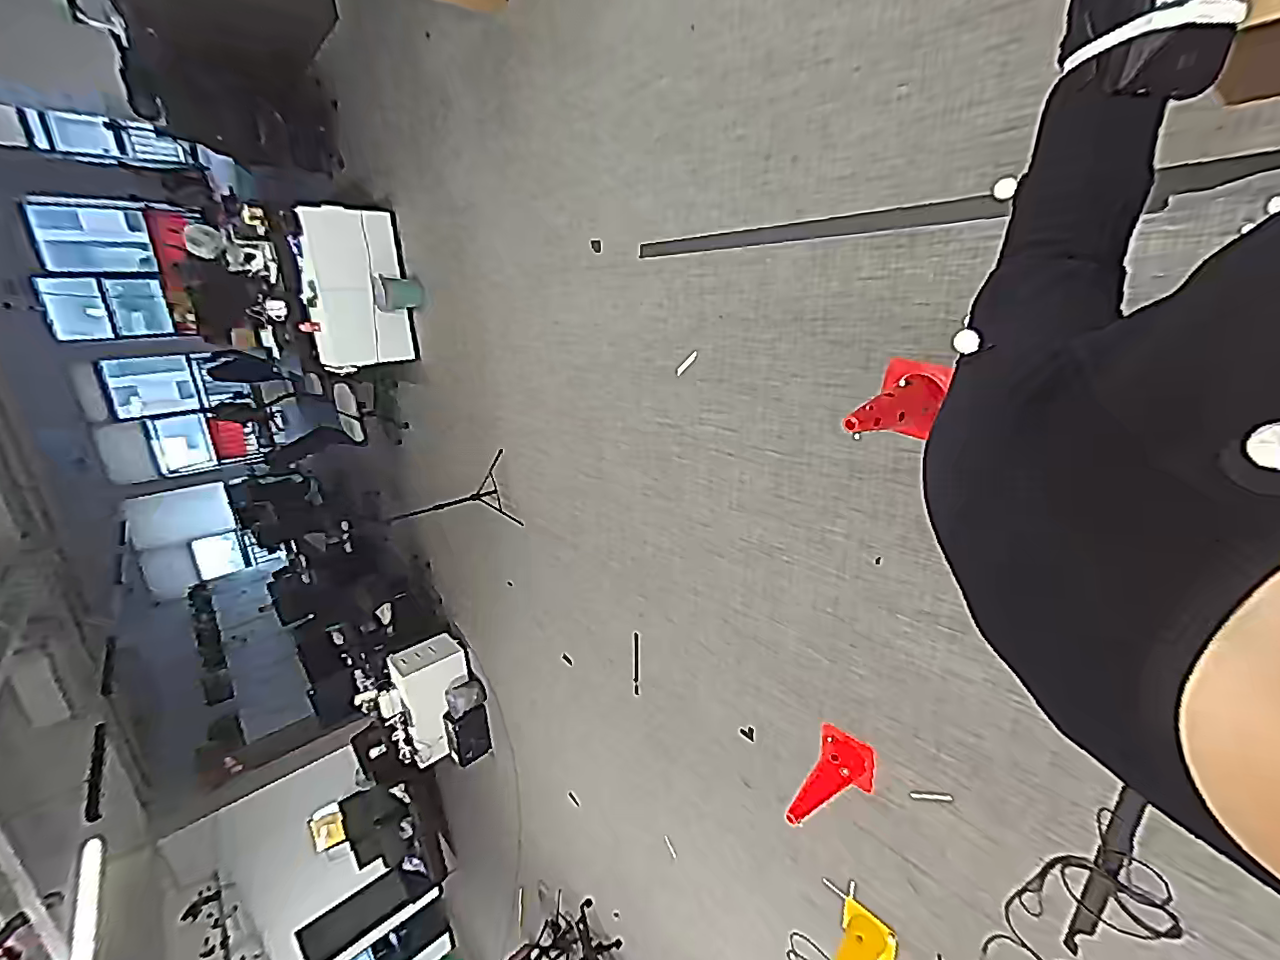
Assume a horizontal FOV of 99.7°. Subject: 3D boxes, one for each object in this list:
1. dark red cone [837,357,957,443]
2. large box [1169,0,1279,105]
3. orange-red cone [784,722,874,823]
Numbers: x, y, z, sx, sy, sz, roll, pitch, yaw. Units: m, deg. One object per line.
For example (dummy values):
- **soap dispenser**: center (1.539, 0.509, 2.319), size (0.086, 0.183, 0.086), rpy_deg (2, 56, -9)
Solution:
- **dark red cone**: center (0.595, -0.174, 1.325), size (0.201, 0.394, 0.202), rpy_deg (25, 123, 42)
- **large box**: center (0.585, -0.442, 0.266), size (0.408, 0.320, 0.320), rpy_deg (17, 119, 46)
- **orange-red cone**: center (0.606, 1.028, 1.822), size (0.198, 0.360, 0.199), rpy_deg (17, 118, 48)
